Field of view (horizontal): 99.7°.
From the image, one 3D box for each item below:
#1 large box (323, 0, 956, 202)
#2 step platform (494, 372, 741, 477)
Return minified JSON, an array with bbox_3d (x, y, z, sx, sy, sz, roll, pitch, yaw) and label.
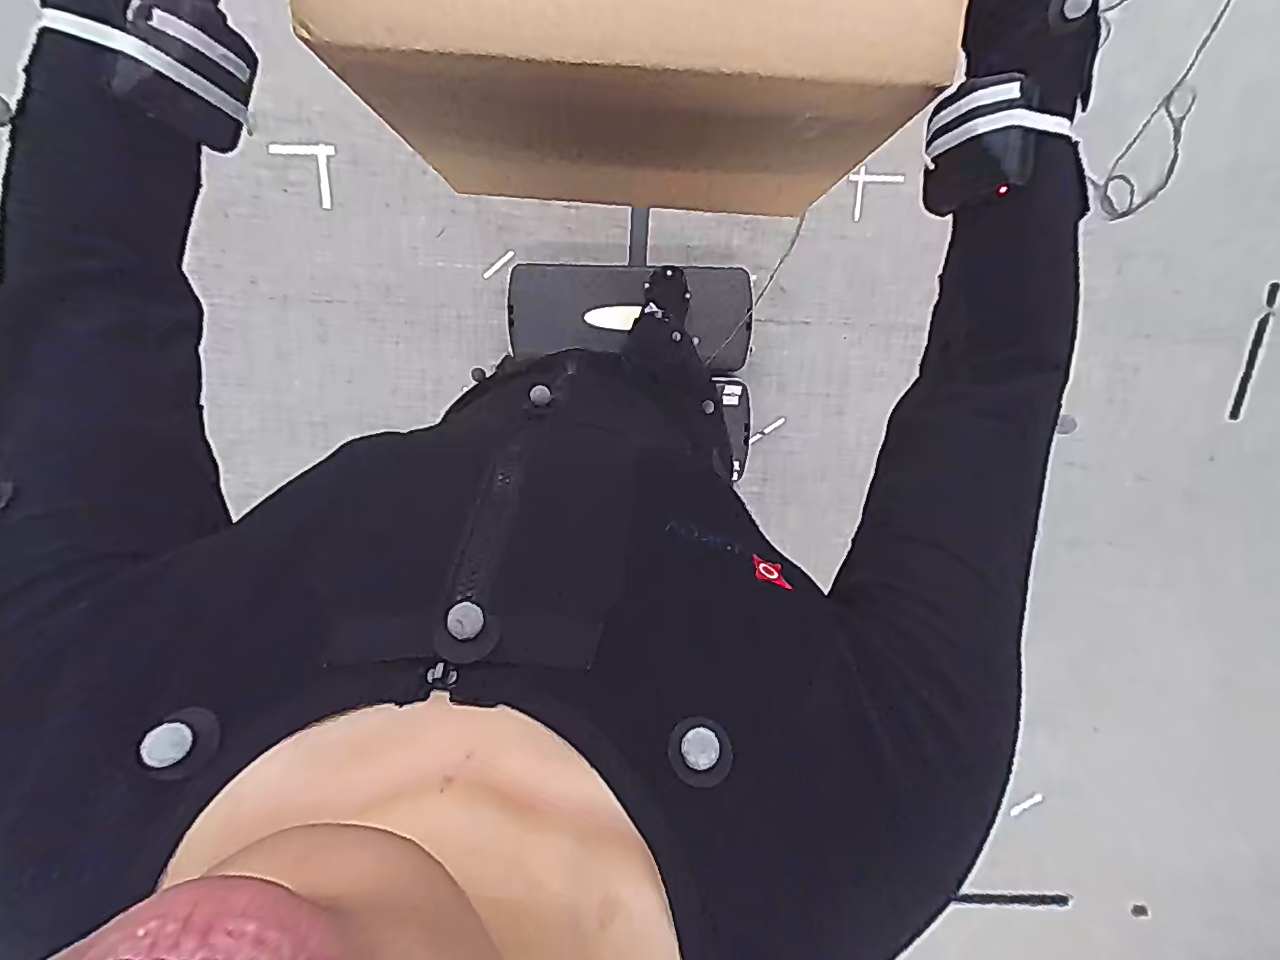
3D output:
[{"bbox_3d":[0.000,-0.448,0.457,0.408,0.320,0.320,2,103,-2],"label":"large box"},{"bbox_3d":[-0.059,-0.159,1.528,0.684,0.204,0.286,0,102,0],"label":"step platform"}]
